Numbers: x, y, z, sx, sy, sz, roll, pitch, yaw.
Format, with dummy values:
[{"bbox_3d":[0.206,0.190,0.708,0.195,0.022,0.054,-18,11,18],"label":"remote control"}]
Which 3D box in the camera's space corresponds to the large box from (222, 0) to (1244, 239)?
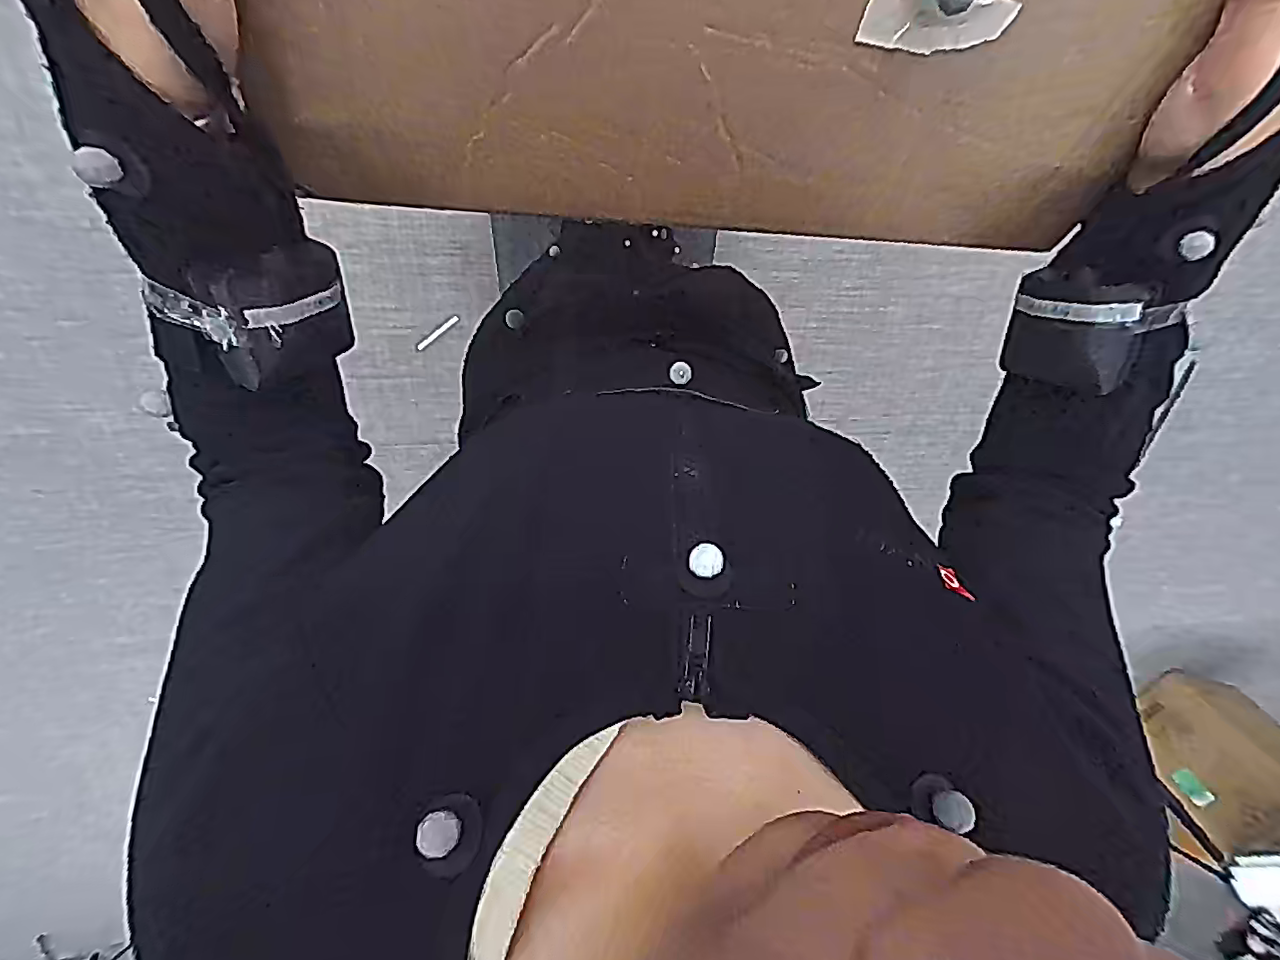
[{"bbox_3d":[0.038,-0.342,0.233,0.408,0.320,0.320,-1,153,-8],"label":"large box"}]
